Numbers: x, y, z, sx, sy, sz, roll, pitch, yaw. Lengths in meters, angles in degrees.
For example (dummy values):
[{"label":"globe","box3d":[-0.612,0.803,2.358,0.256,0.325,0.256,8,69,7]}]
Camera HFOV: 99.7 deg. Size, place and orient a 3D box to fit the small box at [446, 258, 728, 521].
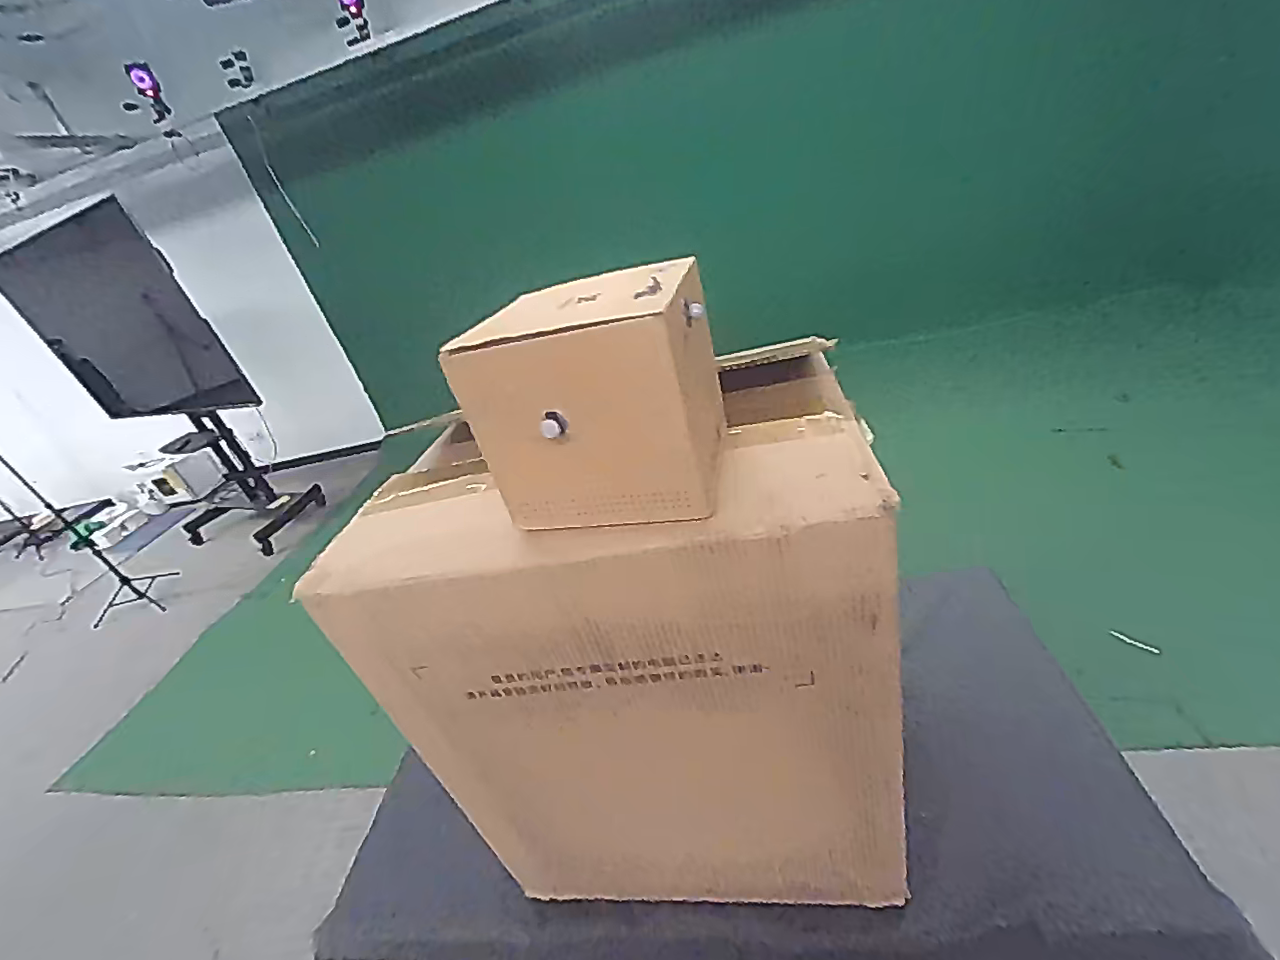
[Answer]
[{"label":"small box","box3d":[-0.028,-0.077,0.479,0.179,0.176,0.168,-5,32,18]}]
